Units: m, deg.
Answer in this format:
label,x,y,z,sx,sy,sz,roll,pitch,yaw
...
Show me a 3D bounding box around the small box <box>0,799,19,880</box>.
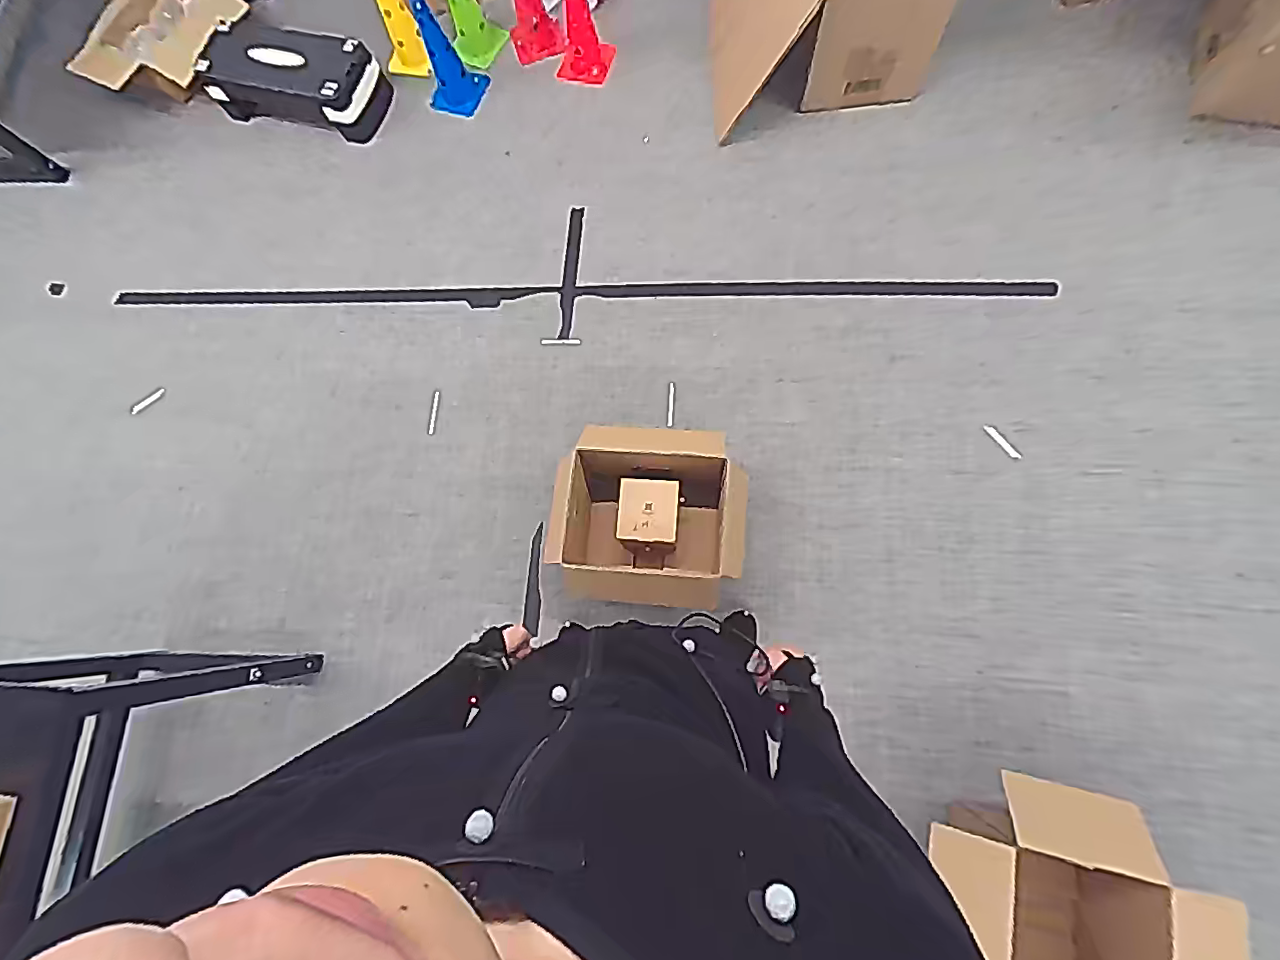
label,x,y,z,sx,sy,sz,roll,pitch,yaw
small box,-1.156,0.611,0.847,0.168,0.176,0.179,3,79,7
